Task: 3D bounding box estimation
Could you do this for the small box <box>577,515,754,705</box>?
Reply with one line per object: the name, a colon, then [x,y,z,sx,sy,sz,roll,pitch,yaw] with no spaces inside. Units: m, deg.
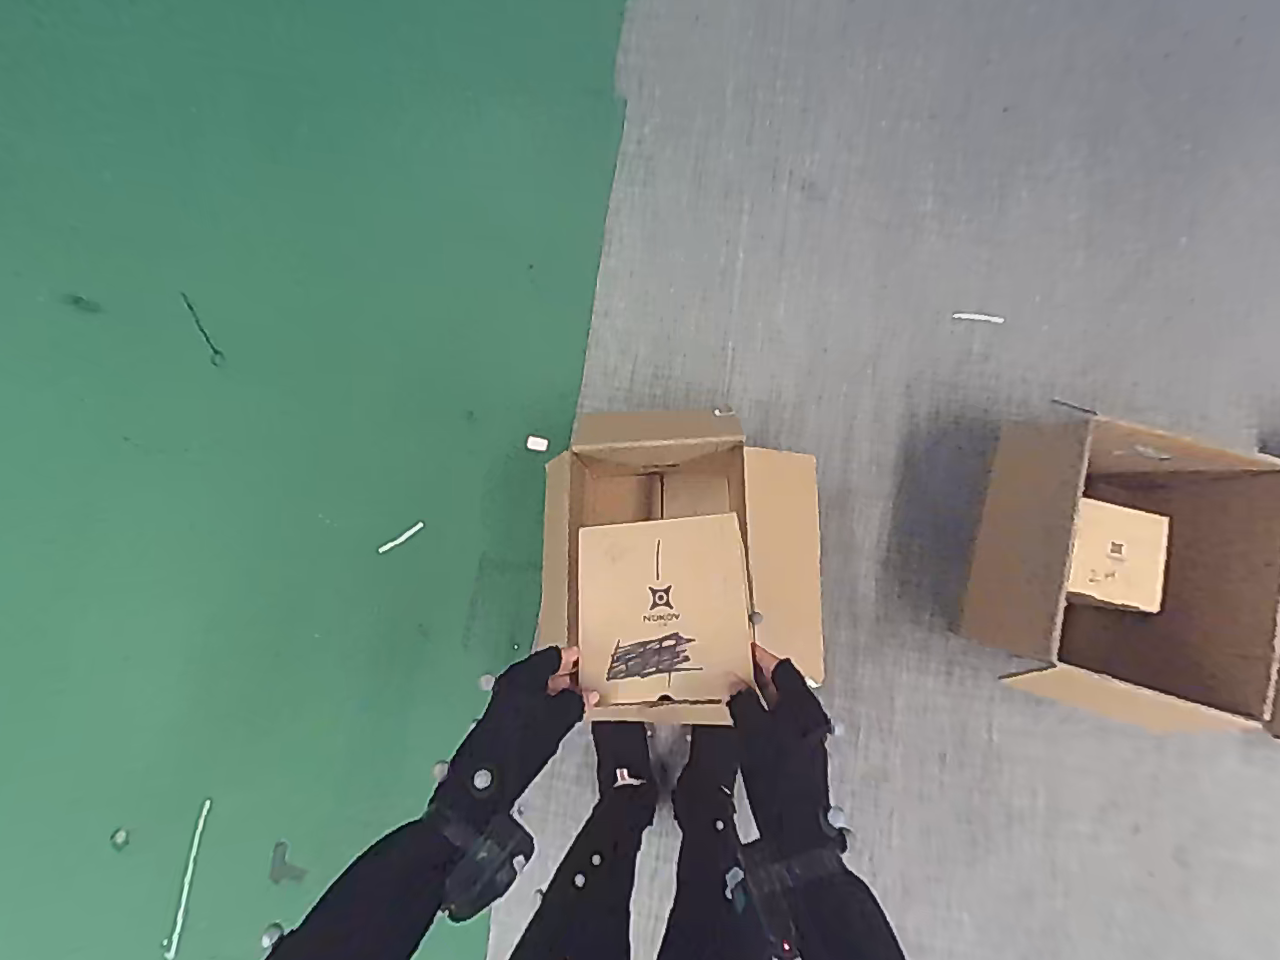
small box: [0.035,0.151,0.602,0.168,0.176,0.179,-6,68,11]
